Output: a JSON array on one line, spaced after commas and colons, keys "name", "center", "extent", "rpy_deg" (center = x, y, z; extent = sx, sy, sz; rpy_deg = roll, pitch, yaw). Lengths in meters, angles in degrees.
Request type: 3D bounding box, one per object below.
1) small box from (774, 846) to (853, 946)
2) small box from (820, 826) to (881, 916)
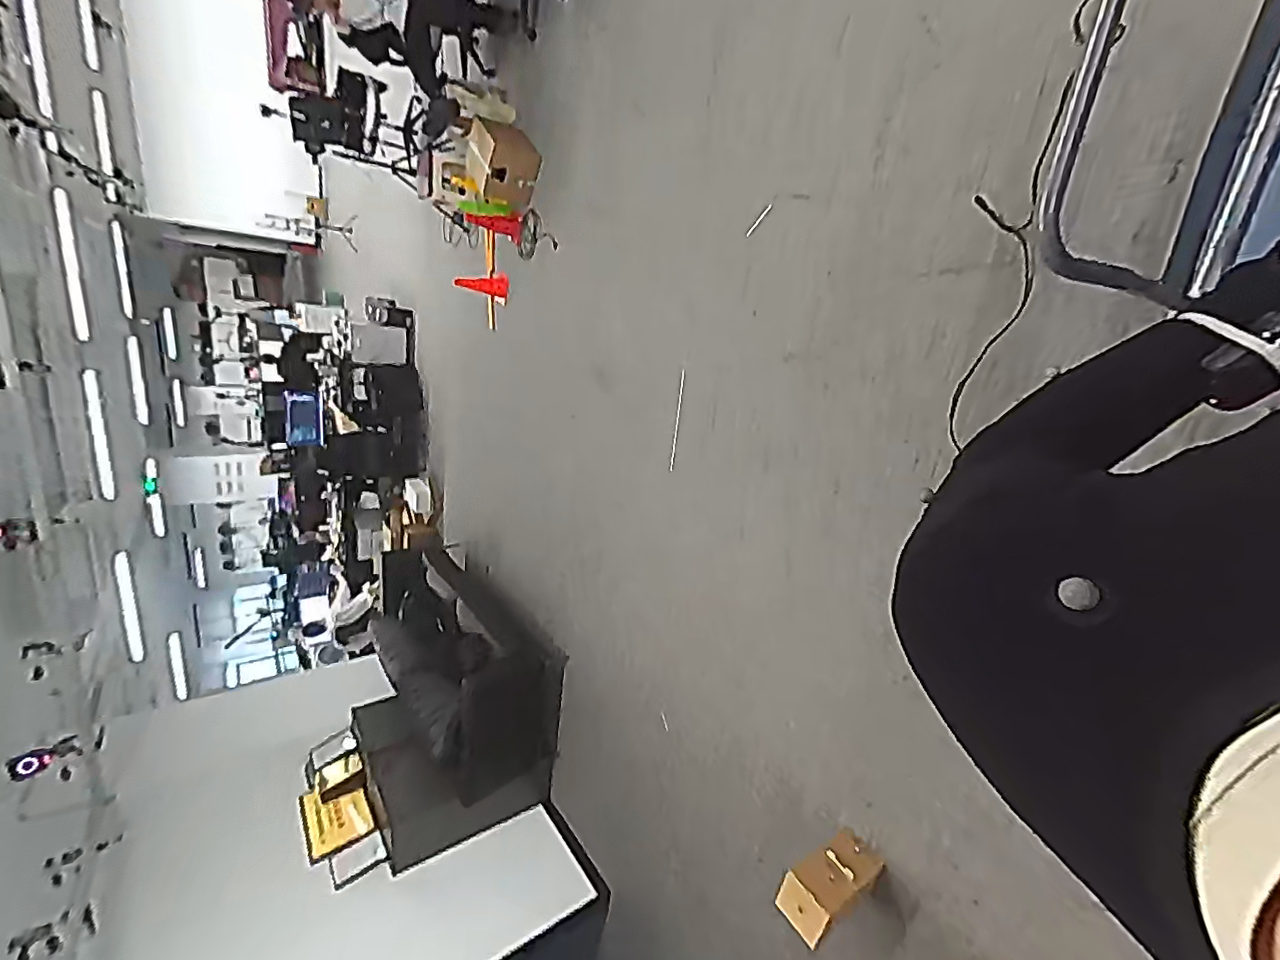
[{"name": "small box", "center": [0.586, 1.392, 1.818], "extent": [0.168, 0.176, 0.179], "rpy_deg": [34, 120, 46]}, {"name": "small box", "center": [0.718, 1.379, 1.909], "extent": [0.168, 0.176, 0.179], "rpy_deg": [39, 123, 41]}]
